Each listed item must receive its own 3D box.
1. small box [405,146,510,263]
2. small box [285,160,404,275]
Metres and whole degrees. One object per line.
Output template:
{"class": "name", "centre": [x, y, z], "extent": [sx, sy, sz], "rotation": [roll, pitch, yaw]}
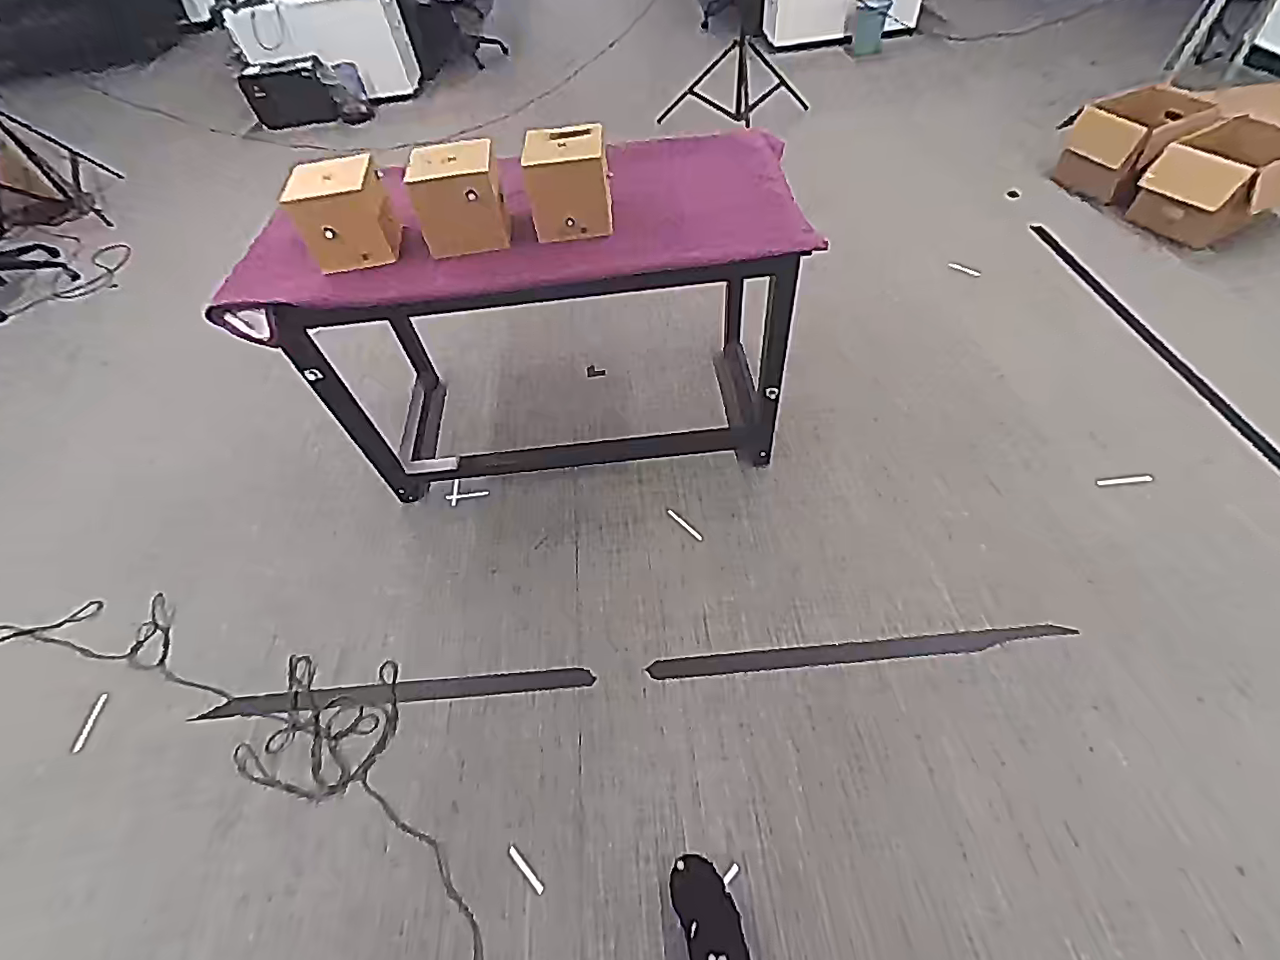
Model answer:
{"class": "small box", "centre": [-0.392, -0.608, 1.199], "extent": [0.179, 0.176, 0.168], "rotation": [-9, 51, -2]}
{"class": "small box", "centre": [-0.646, -0.576, 1.205], "extent": [0.168, 0.176, 0.179], "rotation": [-12, 52, -3]}
